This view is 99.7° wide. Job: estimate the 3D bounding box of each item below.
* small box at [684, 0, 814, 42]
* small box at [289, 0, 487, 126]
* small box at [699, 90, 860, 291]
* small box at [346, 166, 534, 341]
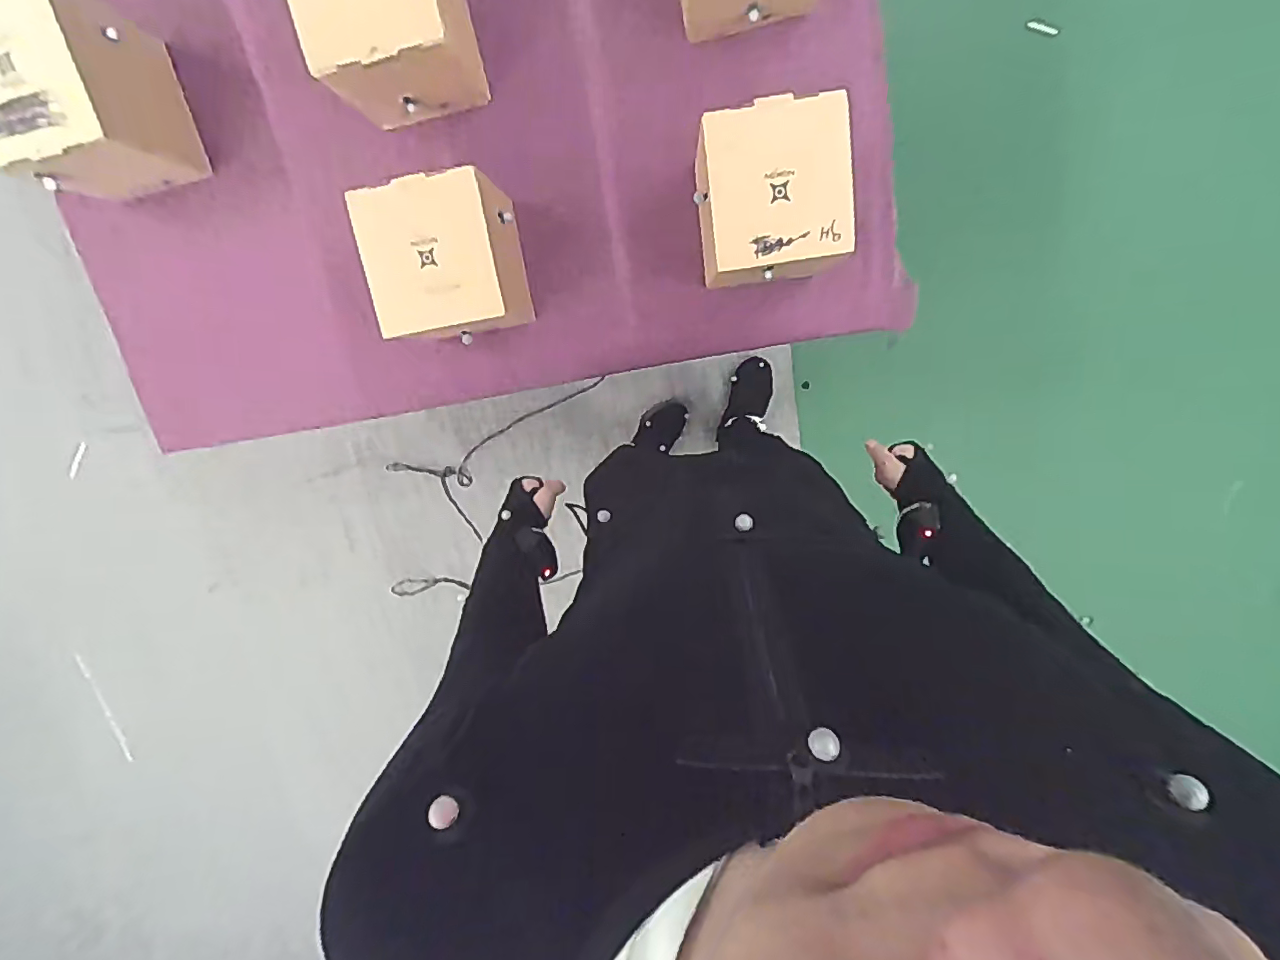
[{"bbox_3d":[0.126,-0.661,0.621,0.168,0.176,0.179,-10,105,7],"label":"small box"},{"bbox_3d":[-0.306,-0.574,0.660,0.168,0.176,0.179,-11,105,4],"label":"small box"},{"bbox_3d":[0.169,-0.356,0.699,0.168,0.176,0.179,-7,101,5],"label":"small box"},{"bbox_3d":[-0.254,-0.289,0.729,0.168,0.176,0.179,-9,103,4],"label":"small box"}]
